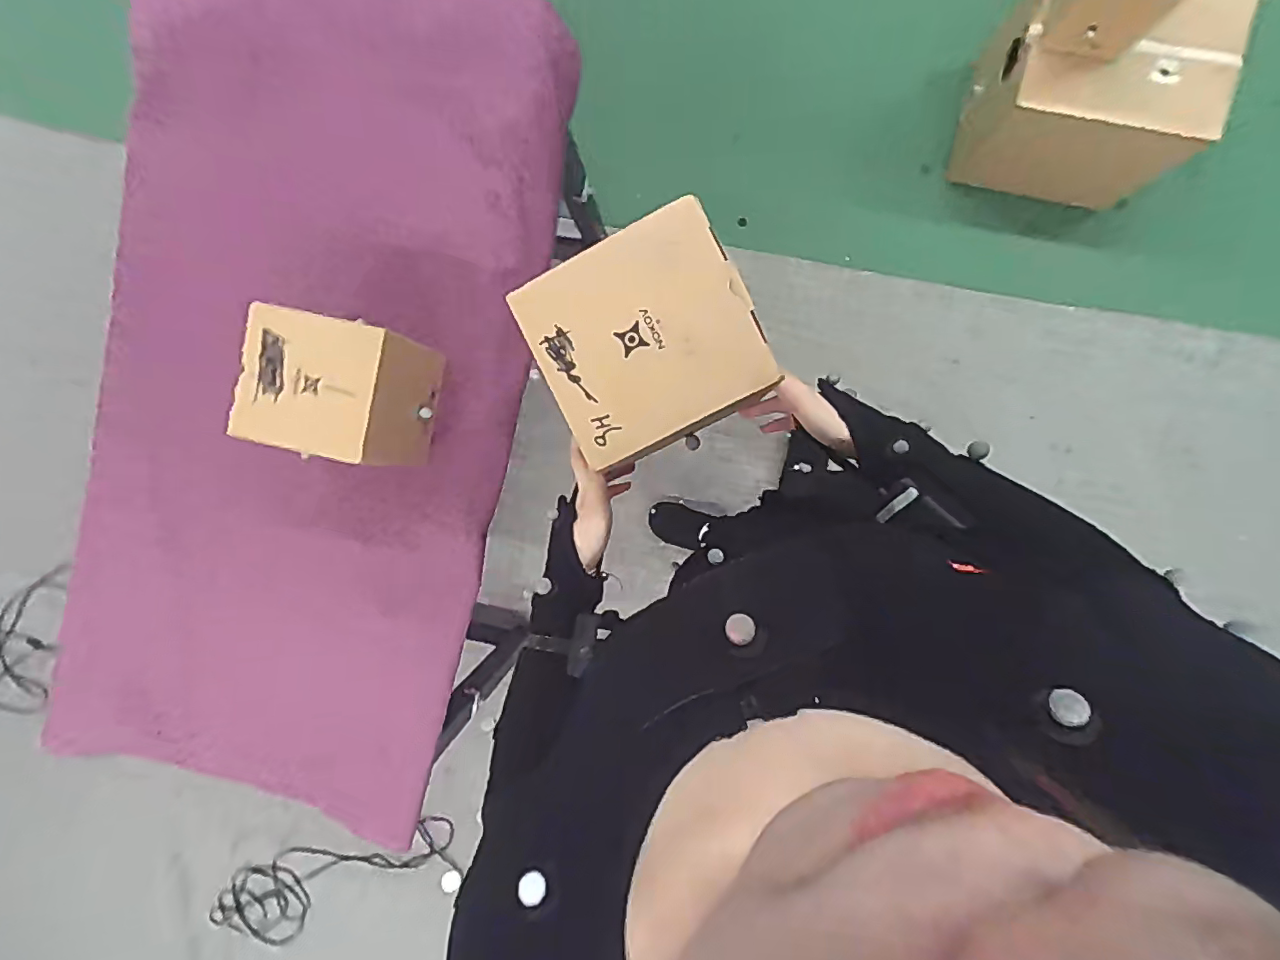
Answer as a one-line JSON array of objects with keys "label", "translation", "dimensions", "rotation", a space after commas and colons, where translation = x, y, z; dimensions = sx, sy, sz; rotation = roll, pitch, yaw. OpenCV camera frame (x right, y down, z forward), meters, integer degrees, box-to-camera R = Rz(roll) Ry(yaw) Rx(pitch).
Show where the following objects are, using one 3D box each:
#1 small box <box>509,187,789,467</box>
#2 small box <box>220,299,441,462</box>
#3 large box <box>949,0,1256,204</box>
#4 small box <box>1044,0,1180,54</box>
[{"label": "small box", "translation": [0.011, -0.122, 0.501], "dimensions": [0.179, 0.176, 0.168], "rotation": [-25, 89, 5]}, {"label": "small box", "translation": [-0.394, -0.120, 0.714], "dimensions": [0.179, 0.176, 0.168], "rotation": [13, 94, 4]}, {"label": "large box", "translation": [1.005, -0.881, 1.230], "dimensions": [0.408, 0.320, 0.320], "rotation": [13, 94, 3]}, {"label": "small box", "translation": [0.893, -0.945, 0.994], "dimensions": [0.168, 0.176, 0.179], "rotation": [13, 93, 4]}]
